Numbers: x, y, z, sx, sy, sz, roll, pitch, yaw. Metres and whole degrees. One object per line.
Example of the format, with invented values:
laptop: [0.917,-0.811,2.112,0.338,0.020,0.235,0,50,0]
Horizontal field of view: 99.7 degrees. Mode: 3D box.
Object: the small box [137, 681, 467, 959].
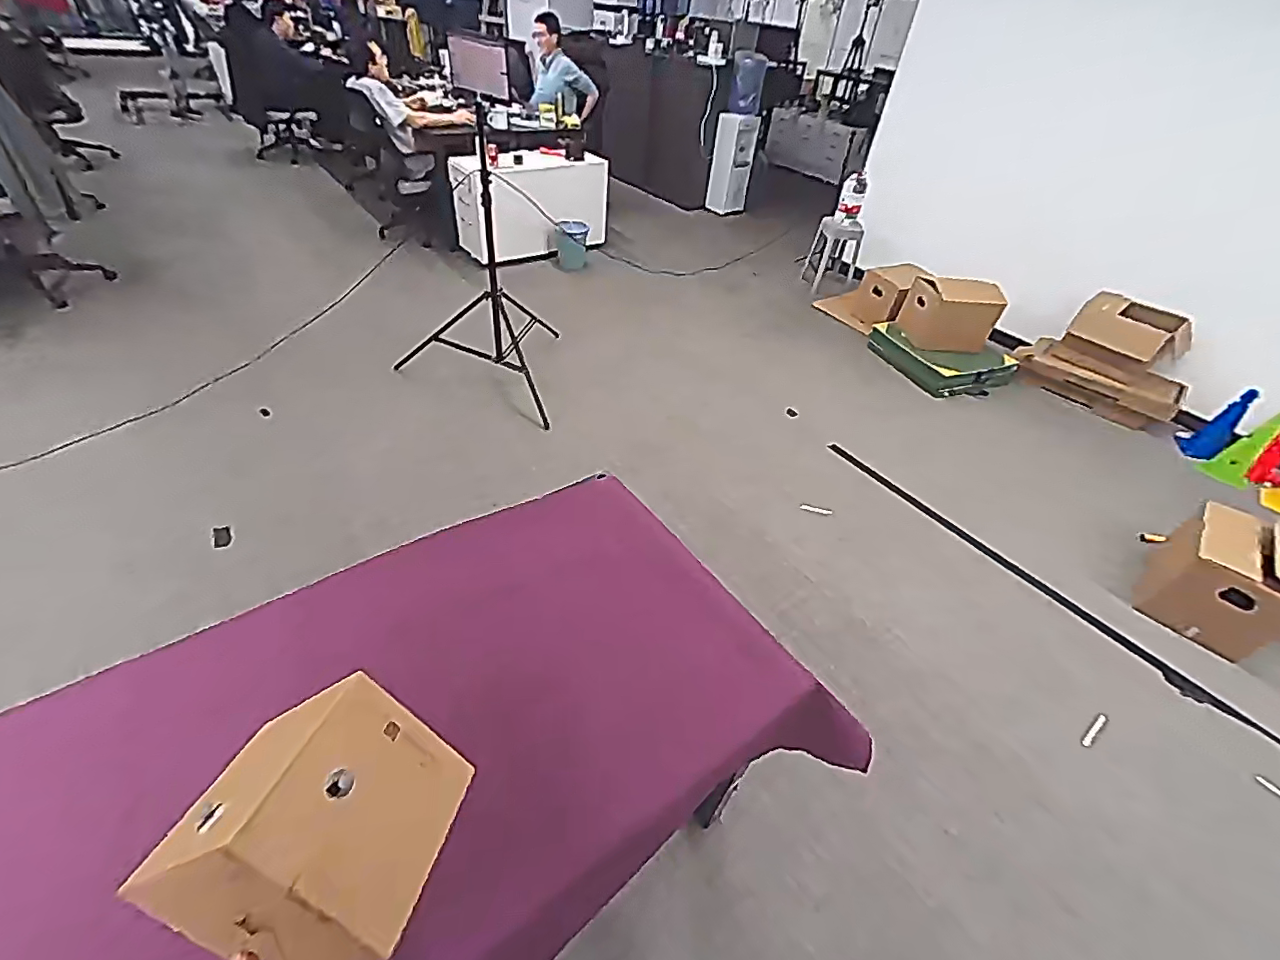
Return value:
small box: [-0.290,0.320,0.504,0.168,0.179,0.176,50,27,-15]
